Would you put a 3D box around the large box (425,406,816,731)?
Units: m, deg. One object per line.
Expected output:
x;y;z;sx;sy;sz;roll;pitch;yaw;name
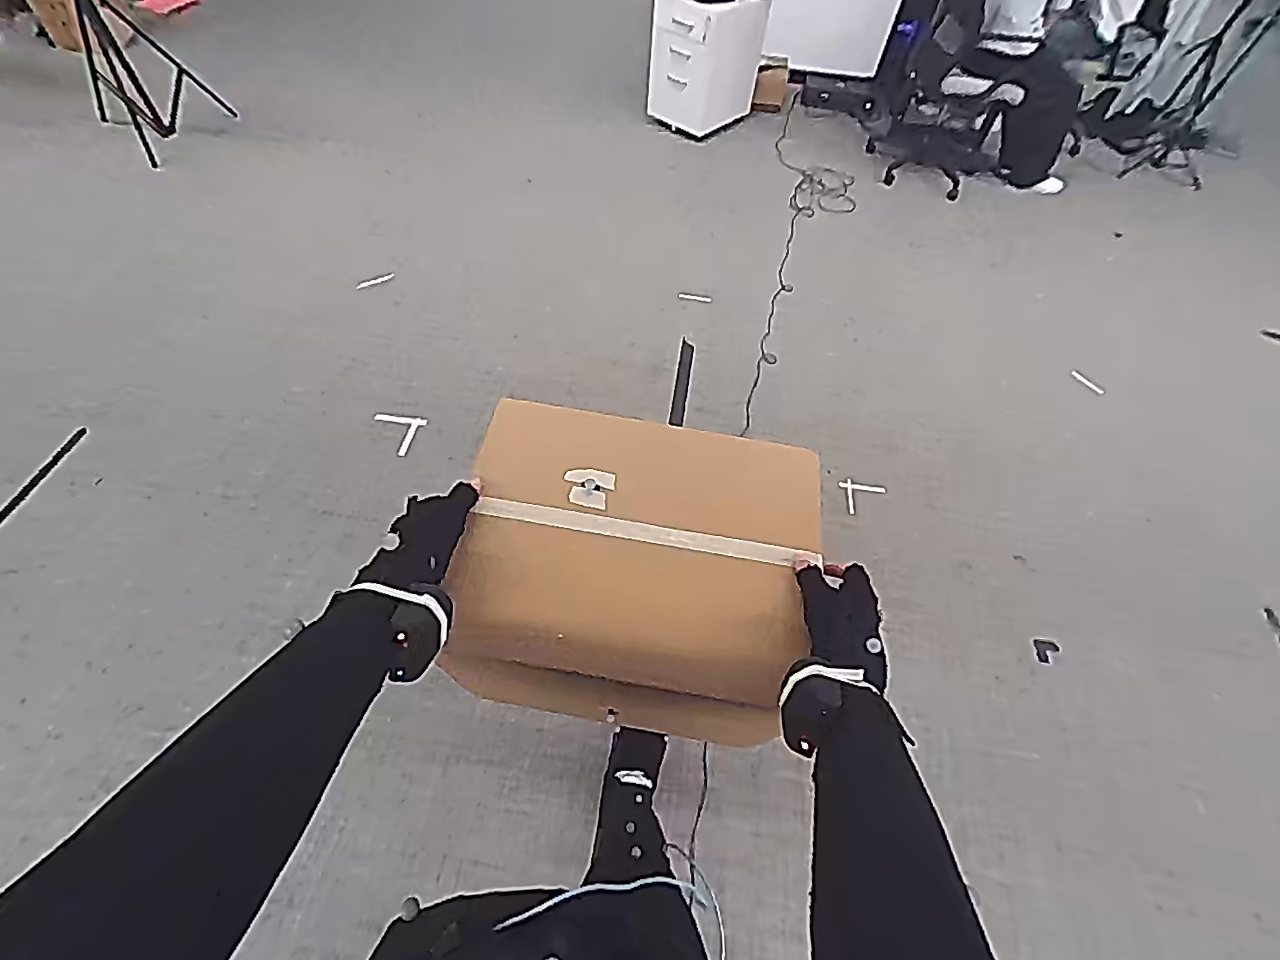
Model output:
-0.008;0.137;0.741;0.408;0.320;0.320;9;58;2;large box
